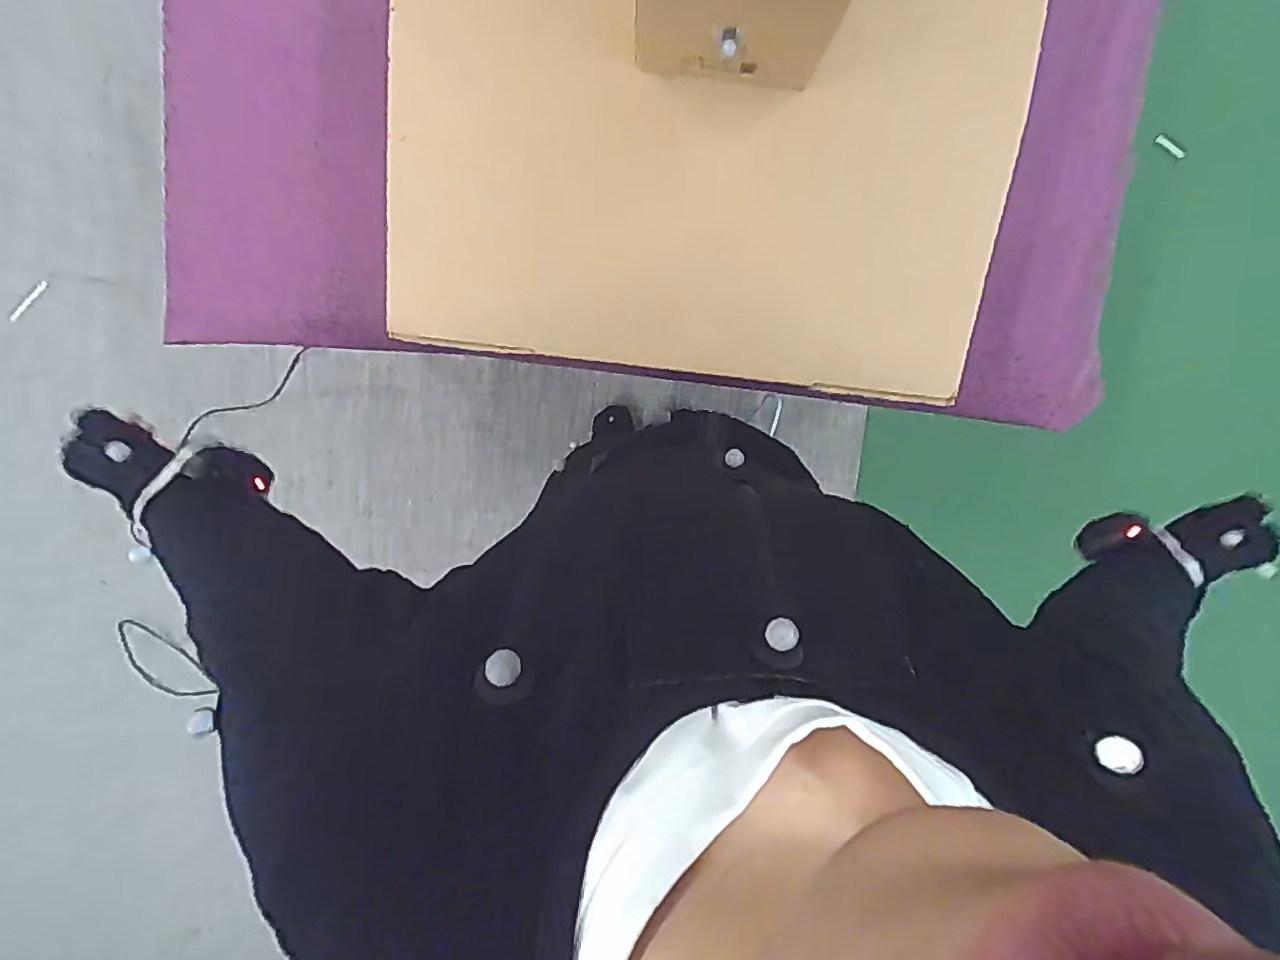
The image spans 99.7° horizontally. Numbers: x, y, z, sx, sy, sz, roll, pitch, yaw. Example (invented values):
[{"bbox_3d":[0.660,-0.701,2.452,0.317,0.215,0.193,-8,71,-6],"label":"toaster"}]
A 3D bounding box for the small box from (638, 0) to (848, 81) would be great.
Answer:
[{"bbox_3d":[0.088,-0.458,0.413,0.168,0.176,0.179,7,97,-2],"label":"small box"}]
